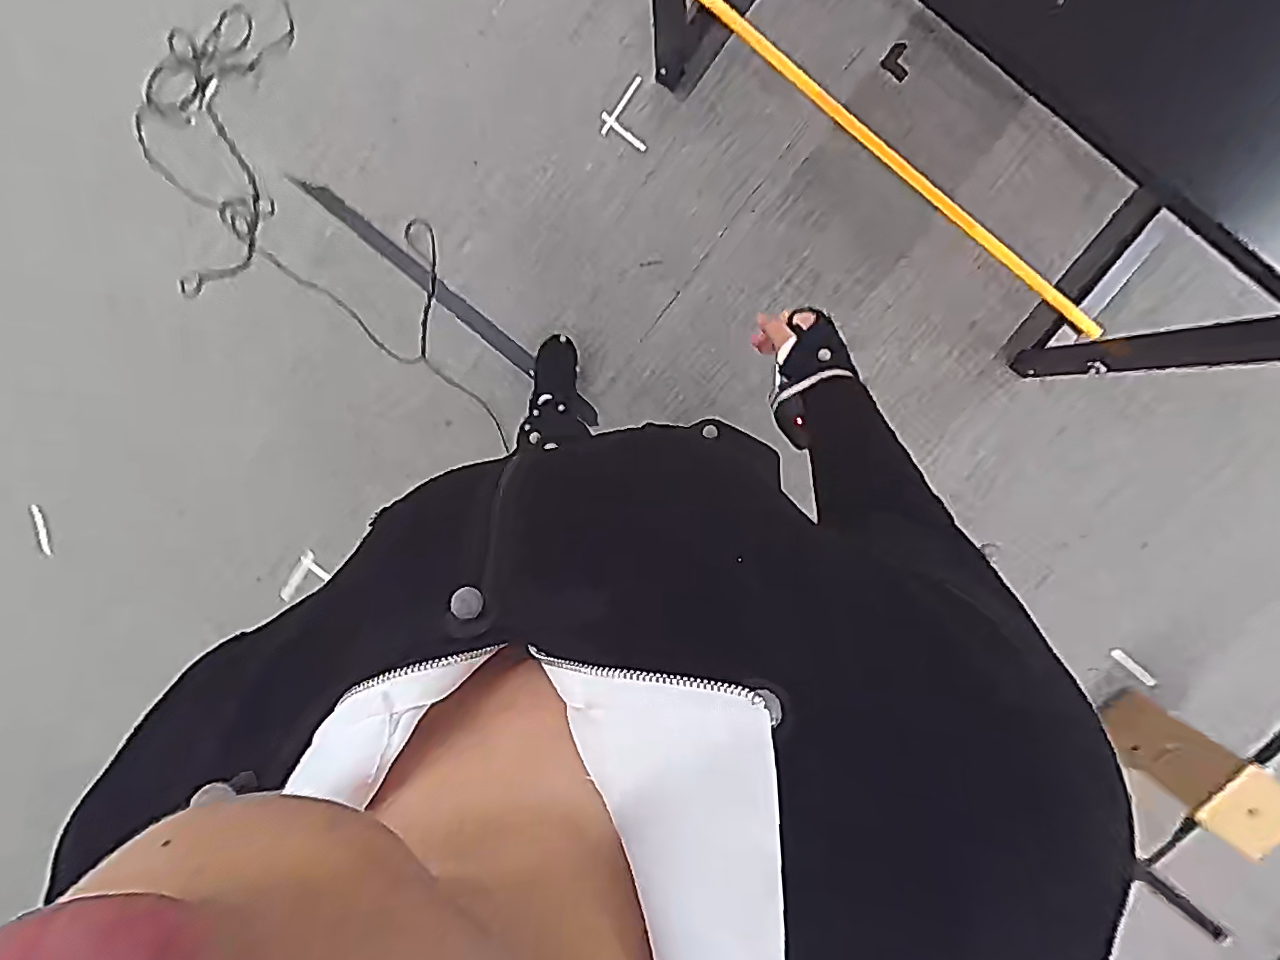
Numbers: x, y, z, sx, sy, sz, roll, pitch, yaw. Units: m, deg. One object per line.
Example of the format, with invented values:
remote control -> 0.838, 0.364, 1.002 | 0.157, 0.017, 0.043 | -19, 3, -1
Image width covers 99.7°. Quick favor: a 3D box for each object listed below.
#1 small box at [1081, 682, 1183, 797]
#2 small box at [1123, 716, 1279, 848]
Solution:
small box -> 1.331, 0.680, 1.434 | 0.168, 0.176, 0.179 | 36, 98, -3
small box -> 1.320, 0.700, 1.273 | 0.179, 0.176, 0.168 | 38, 97, -2
